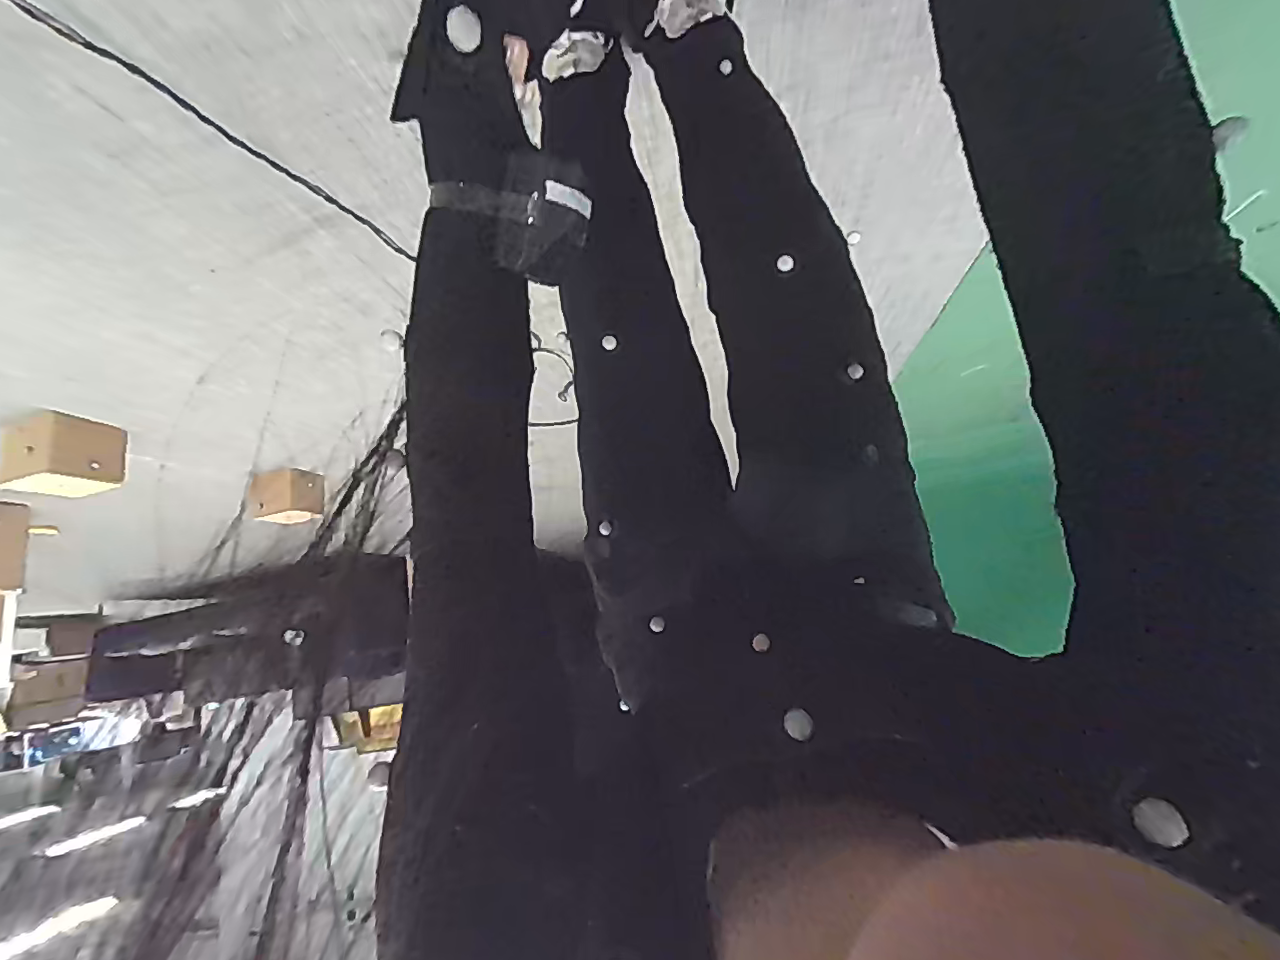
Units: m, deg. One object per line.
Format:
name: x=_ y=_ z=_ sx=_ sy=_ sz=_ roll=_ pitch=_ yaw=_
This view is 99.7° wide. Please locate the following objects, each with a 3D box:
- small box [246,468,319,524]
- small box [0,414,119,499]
small box: x=-1.360 y=0.063 z=2.062 sx=0.179 sy=0.176 sz=0.168 roll=-12 pitch=167 yaw=10
small box: x=-1.519 y=-0.062 z=1.407 sx=0.168 sy=0.176 sz=0.179 roll=-13 pitch=167 yaw=10
